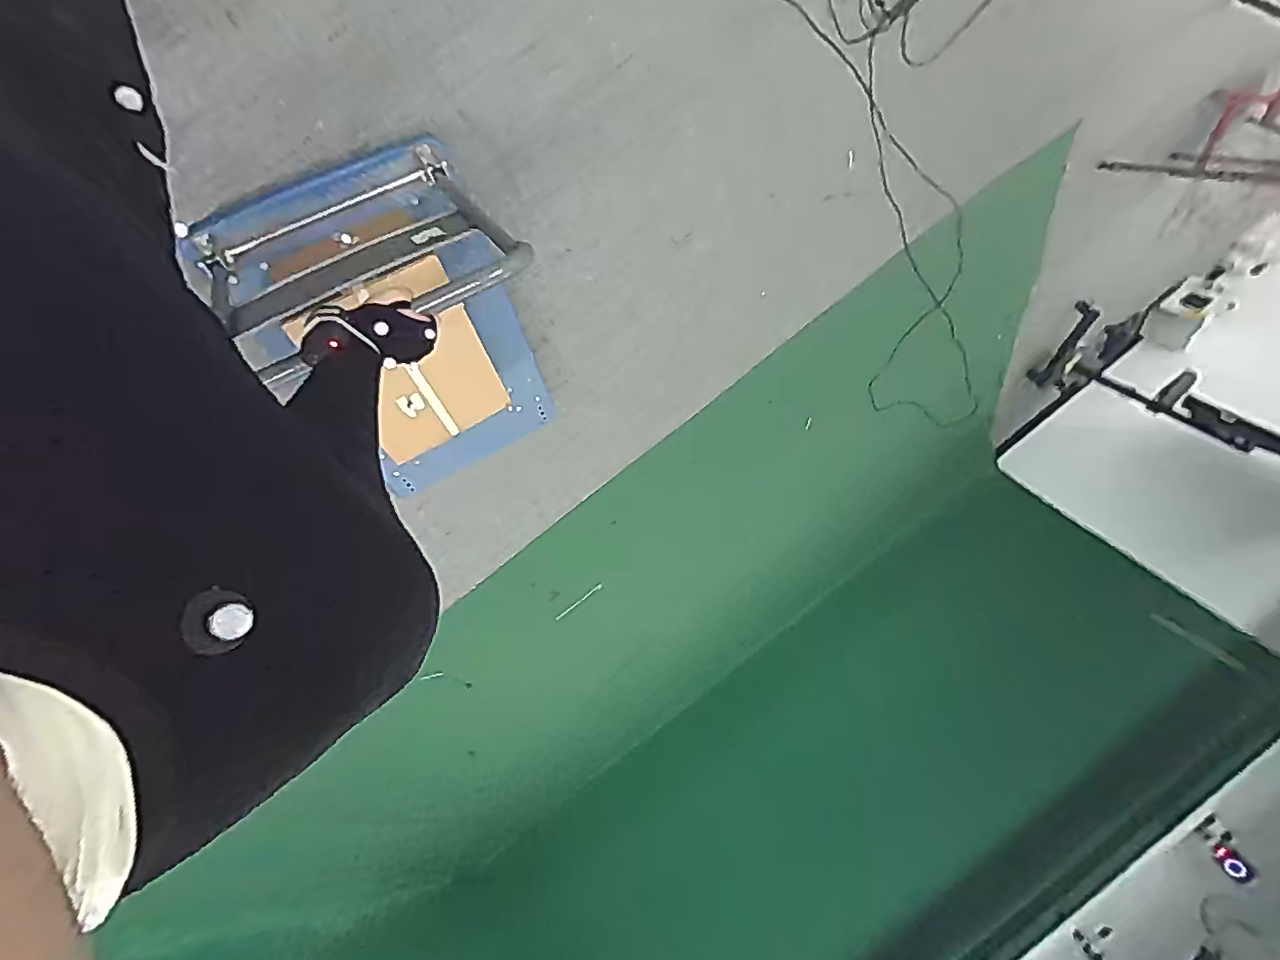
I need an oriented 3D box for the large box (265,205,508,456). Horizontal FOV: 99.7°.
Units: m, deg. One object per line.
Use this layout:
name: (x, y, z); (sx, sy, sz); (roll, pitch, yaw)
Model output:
large box: (-0.571, -0.341, 1.254); (0.320, 0.320, 0.408); (-31, 142, -11)
